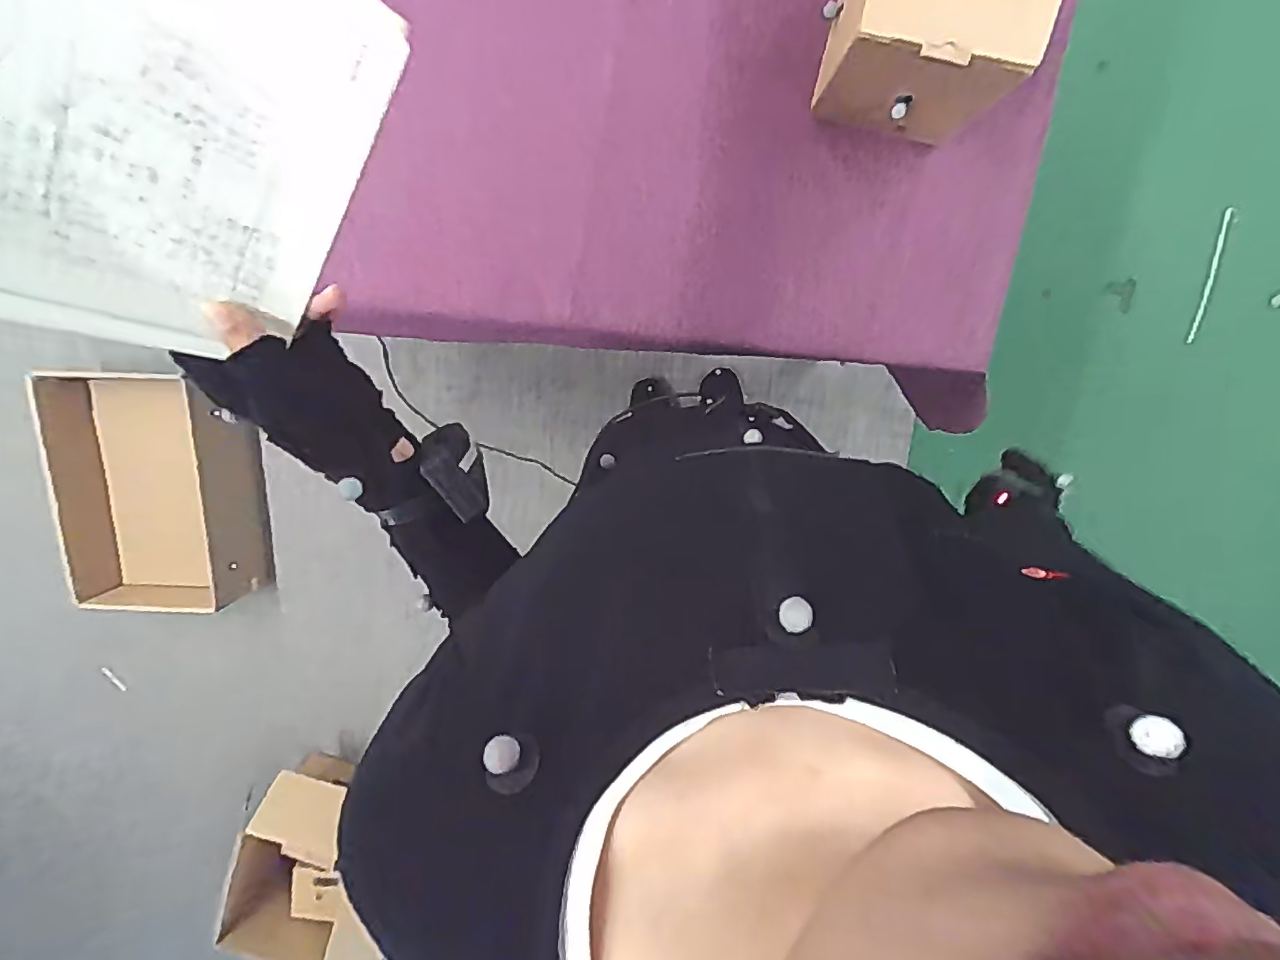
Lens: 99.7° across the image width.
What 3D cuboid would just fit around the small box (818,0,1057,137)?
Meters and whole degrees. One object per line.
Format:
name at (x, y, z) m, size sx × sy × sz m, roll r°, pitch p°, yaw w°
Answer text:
small box at (0.294, -0.479, 0.540) m, size 0.168 × 0.176 × 0.179 m, roll 13°, pitch 103°, yaw -1°
